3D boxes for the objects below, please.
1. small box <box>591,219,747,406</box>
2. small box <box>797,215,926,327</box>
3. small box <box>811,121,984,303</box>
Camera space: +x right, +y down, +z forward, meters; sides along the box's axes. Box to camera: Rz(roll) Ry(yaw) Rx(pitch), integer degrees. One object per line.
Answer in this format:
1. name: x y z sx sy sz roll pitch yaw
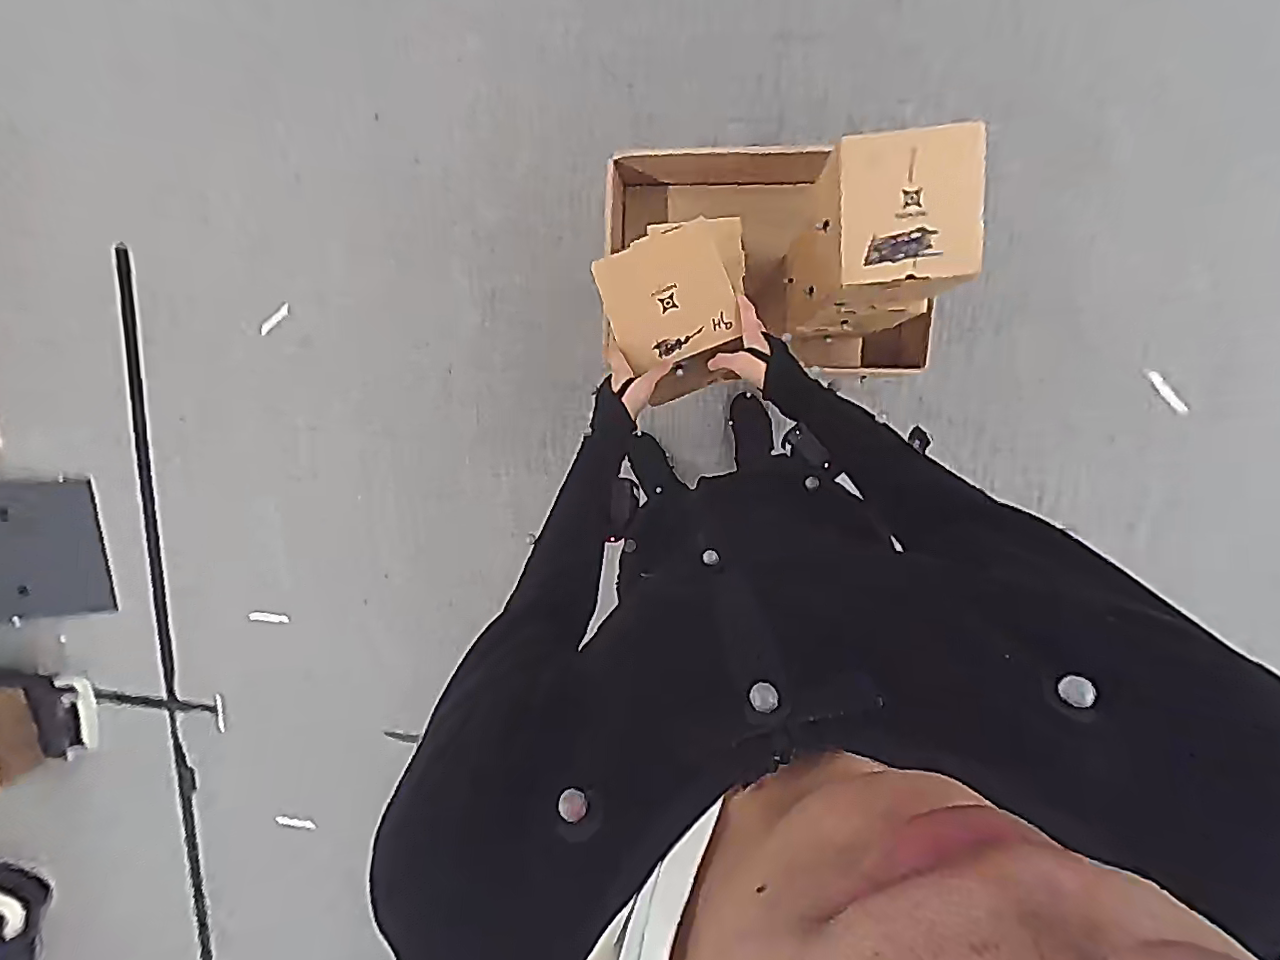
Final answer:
1. small box: 0.048 -0.229 0.784 0.168 0.176 0.179 -20 81 8
2. small box: 0.357 -0.353 0.889 0.168 0.176 0.179 1 99 7
3. small box: 0.331 -0.341 0.727 0.168 0.176 0.179 -2 98 7
